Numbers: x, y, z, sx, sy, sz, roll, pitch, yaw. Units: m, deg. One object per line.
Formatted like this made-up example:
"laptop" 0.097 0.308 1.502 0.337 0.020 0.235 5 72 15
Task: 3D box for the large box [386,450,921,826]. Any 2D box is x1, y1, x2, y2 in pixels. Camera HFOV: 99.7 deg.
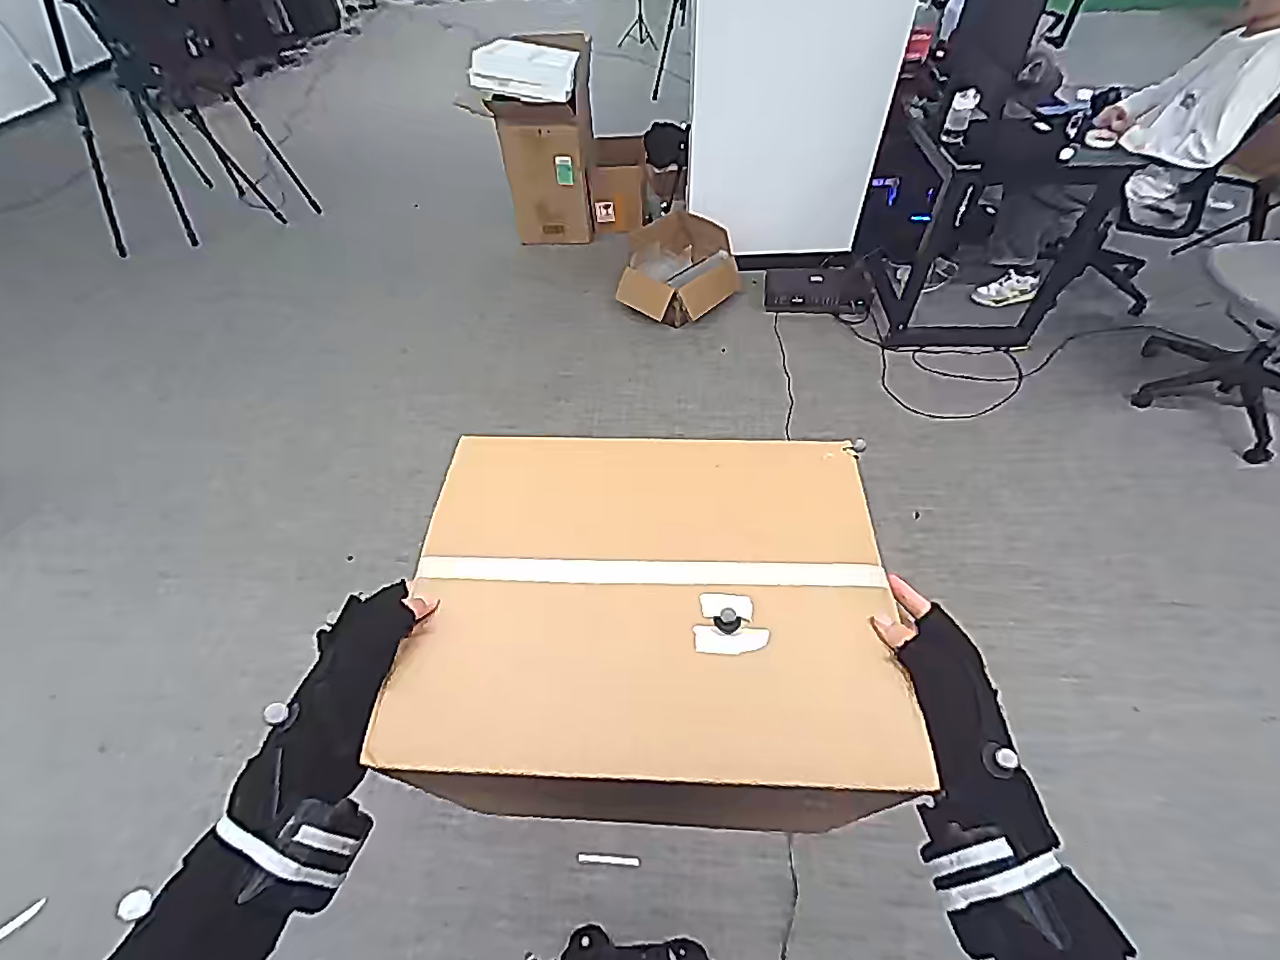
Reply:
"large box" 0.014 0.181 0.602 0.408 0.320 0.320 1 53 3
